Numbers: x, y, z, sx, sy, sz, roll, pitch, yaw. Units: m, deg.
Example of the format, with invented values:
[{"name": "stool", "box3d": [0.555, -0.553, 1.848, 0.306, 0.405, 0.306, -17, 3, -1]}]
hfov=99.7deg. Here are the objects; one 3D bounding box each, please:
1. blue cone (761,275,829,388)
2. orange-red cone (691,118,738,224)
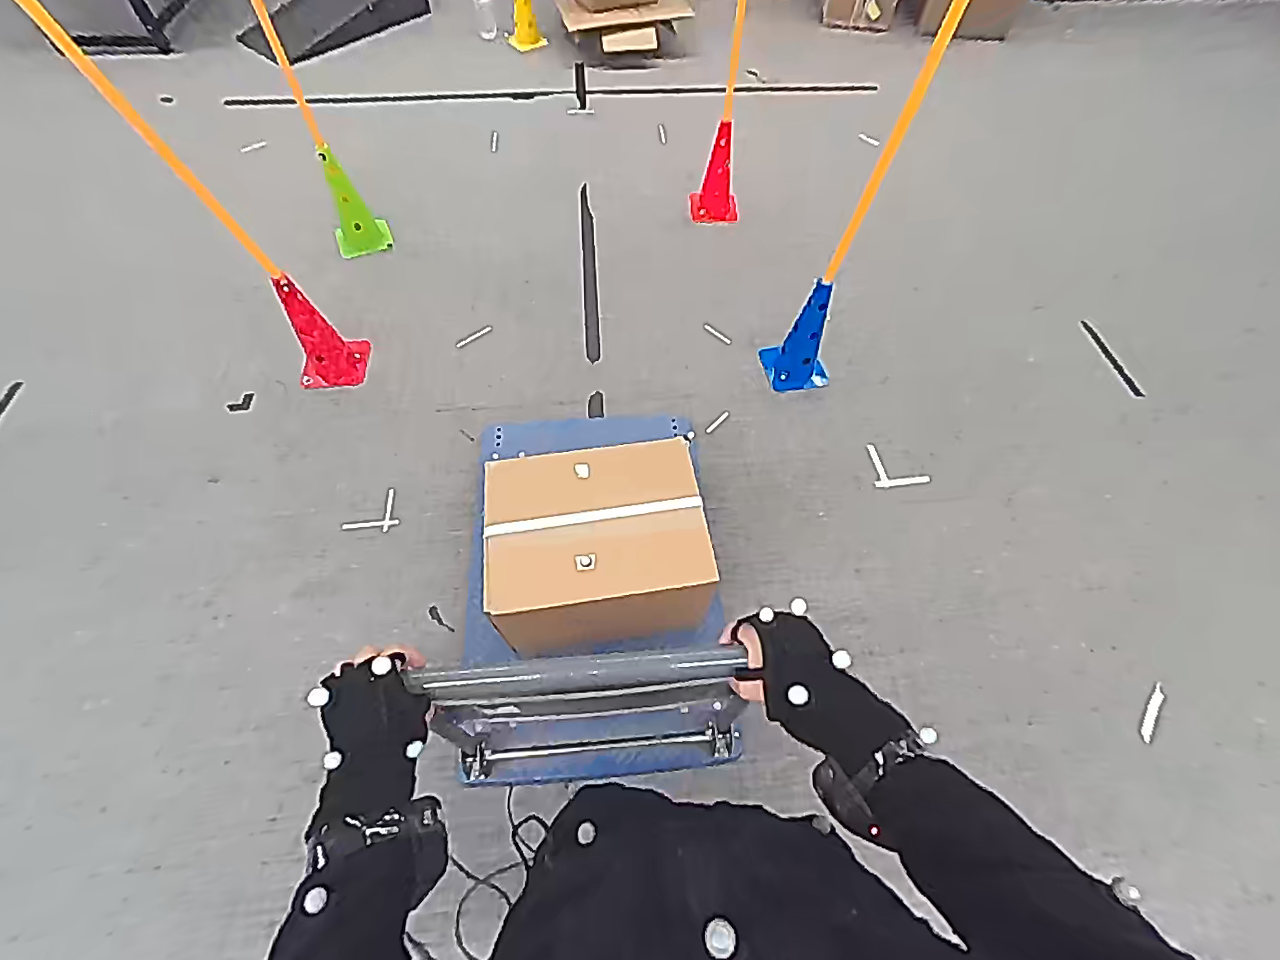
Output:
[{"name": "blue cone", "box3d": [0.532, -0.479, 1.728, 0.193, 0.380, 0.192, -7, 58, -6]}, {"name": "orange-red cone", "box3d": [0.323, -1.250, 2.167, 0.199, 0.360, 0.198, 2, 60, -1]}]
